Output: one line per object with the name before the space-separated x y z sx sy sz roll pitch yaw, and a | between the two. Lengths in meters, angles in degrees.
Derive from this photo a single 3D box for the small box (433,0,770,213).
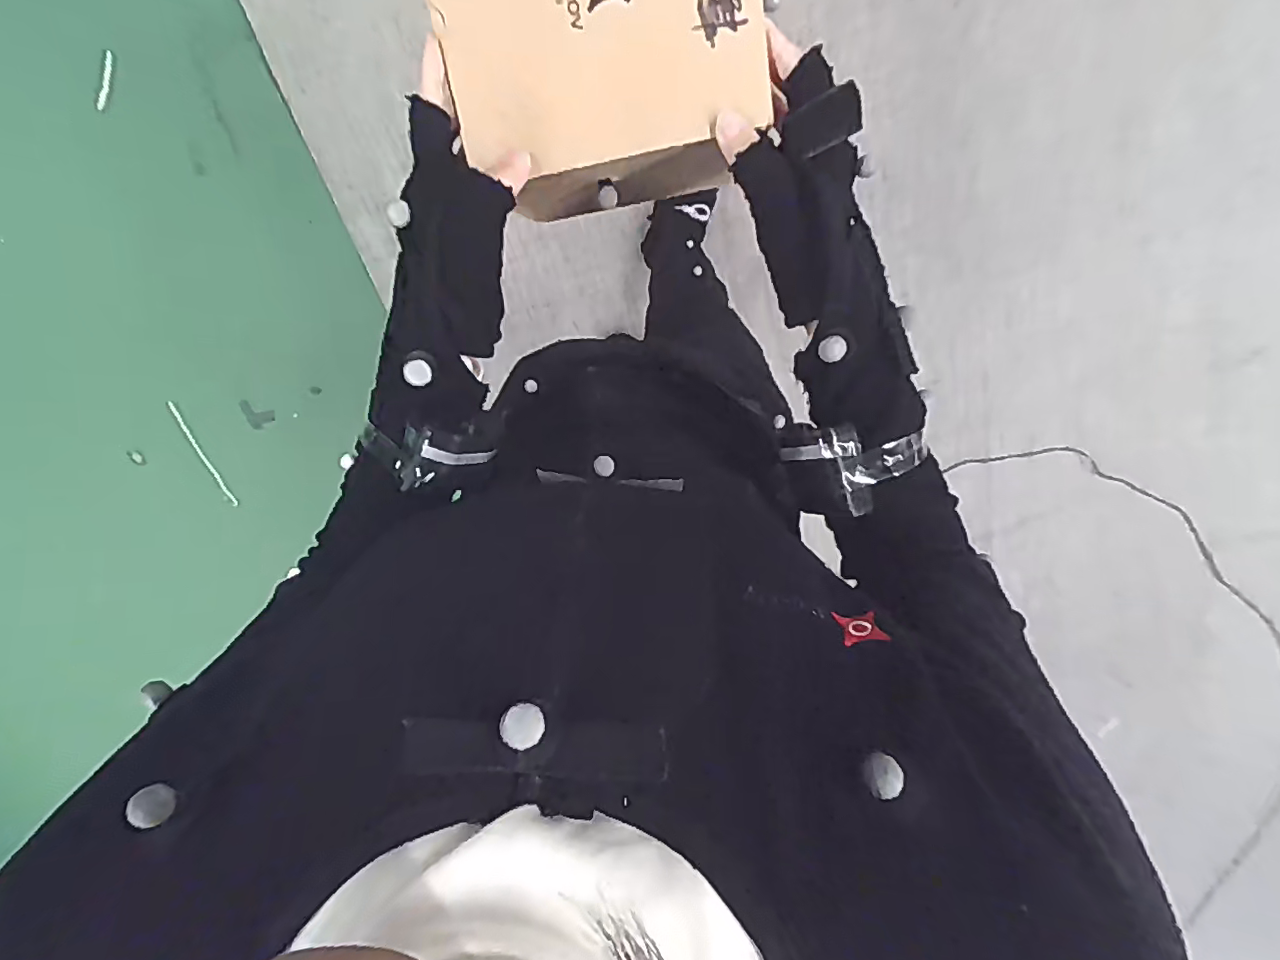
small box | -0.023 -0.297 0.363 0.179 0.176 0.168 -12 106 7
